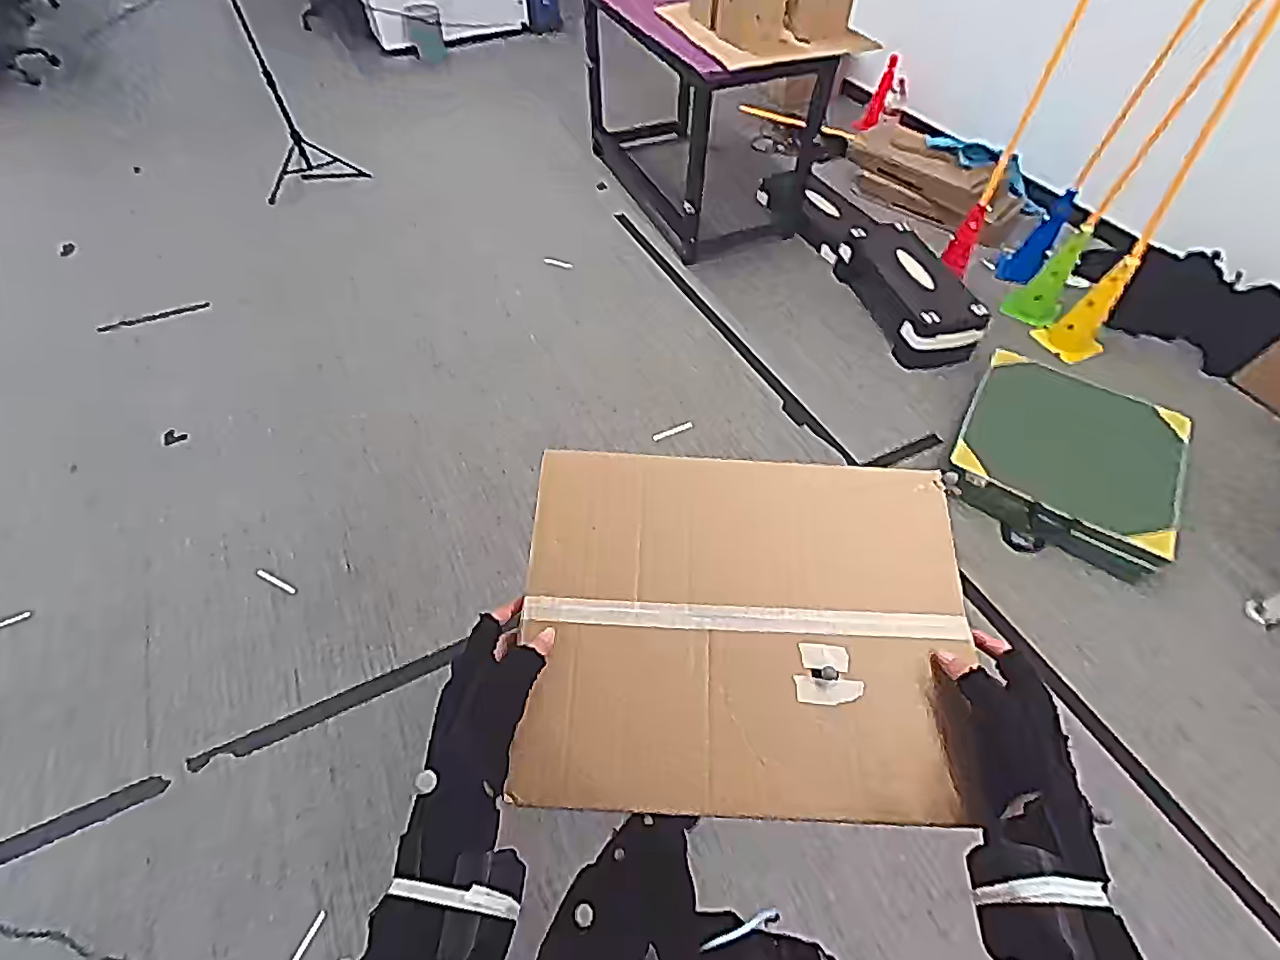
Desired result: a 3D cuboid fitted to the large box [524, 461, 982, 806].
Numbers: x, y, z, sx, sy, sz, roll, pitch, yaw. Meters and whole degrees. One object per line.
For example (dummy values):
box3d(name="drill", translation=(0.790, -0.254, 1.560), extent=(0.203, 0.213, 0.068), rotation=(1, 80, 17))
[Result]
box3d(name="large box", translation=(0.096, 0.185, 0.652), extent=(0.408, 0.320, 0.320), rotation=(3, 69, -1))
